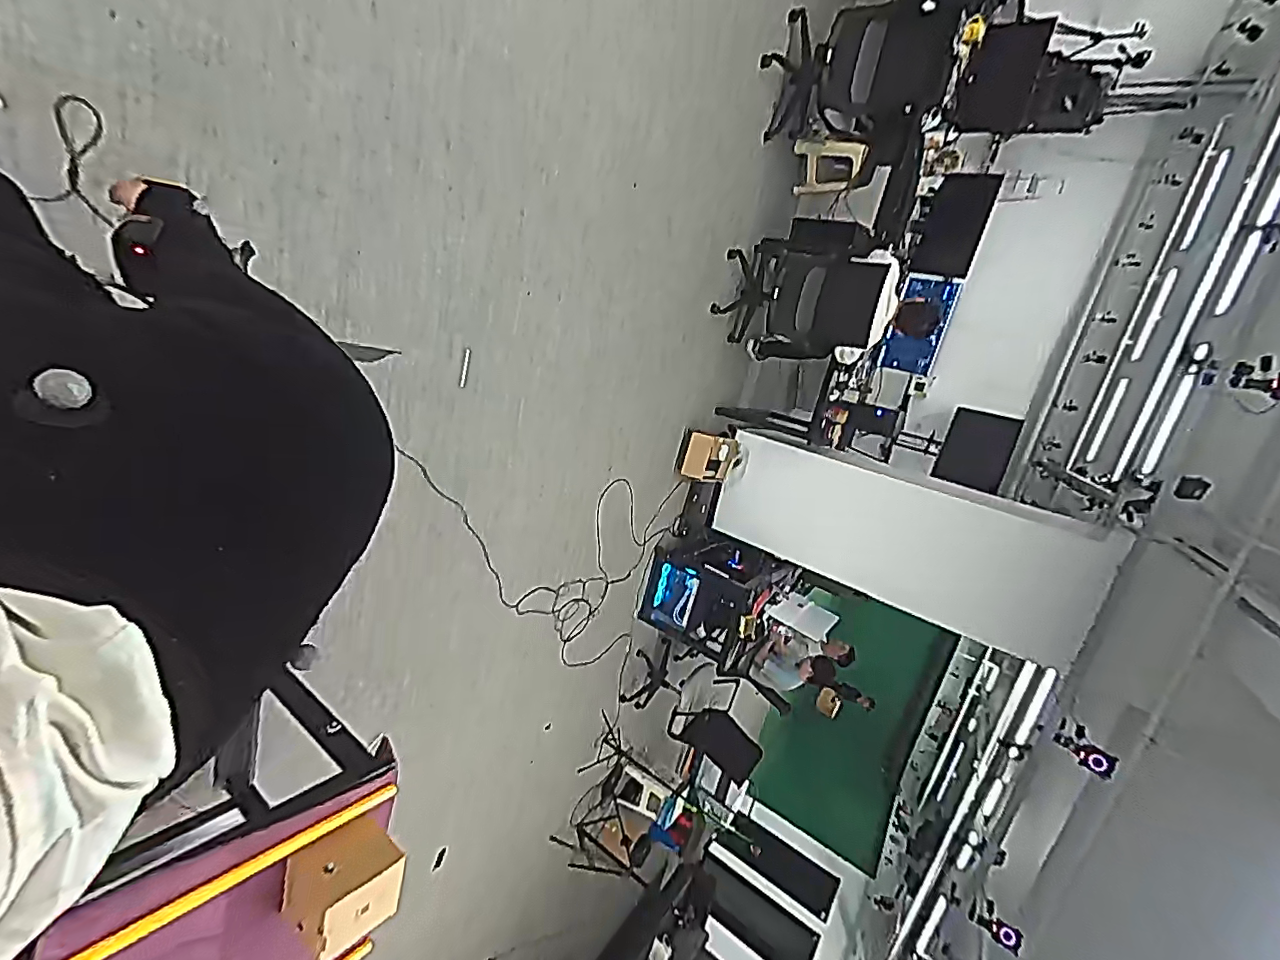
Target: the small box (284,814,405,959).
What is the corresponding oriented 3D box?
[{"bbox_3d":[-0.653,0.893,1.189,0.179,0.176,0.168,-5,113,-55],"label":"small box"}]
